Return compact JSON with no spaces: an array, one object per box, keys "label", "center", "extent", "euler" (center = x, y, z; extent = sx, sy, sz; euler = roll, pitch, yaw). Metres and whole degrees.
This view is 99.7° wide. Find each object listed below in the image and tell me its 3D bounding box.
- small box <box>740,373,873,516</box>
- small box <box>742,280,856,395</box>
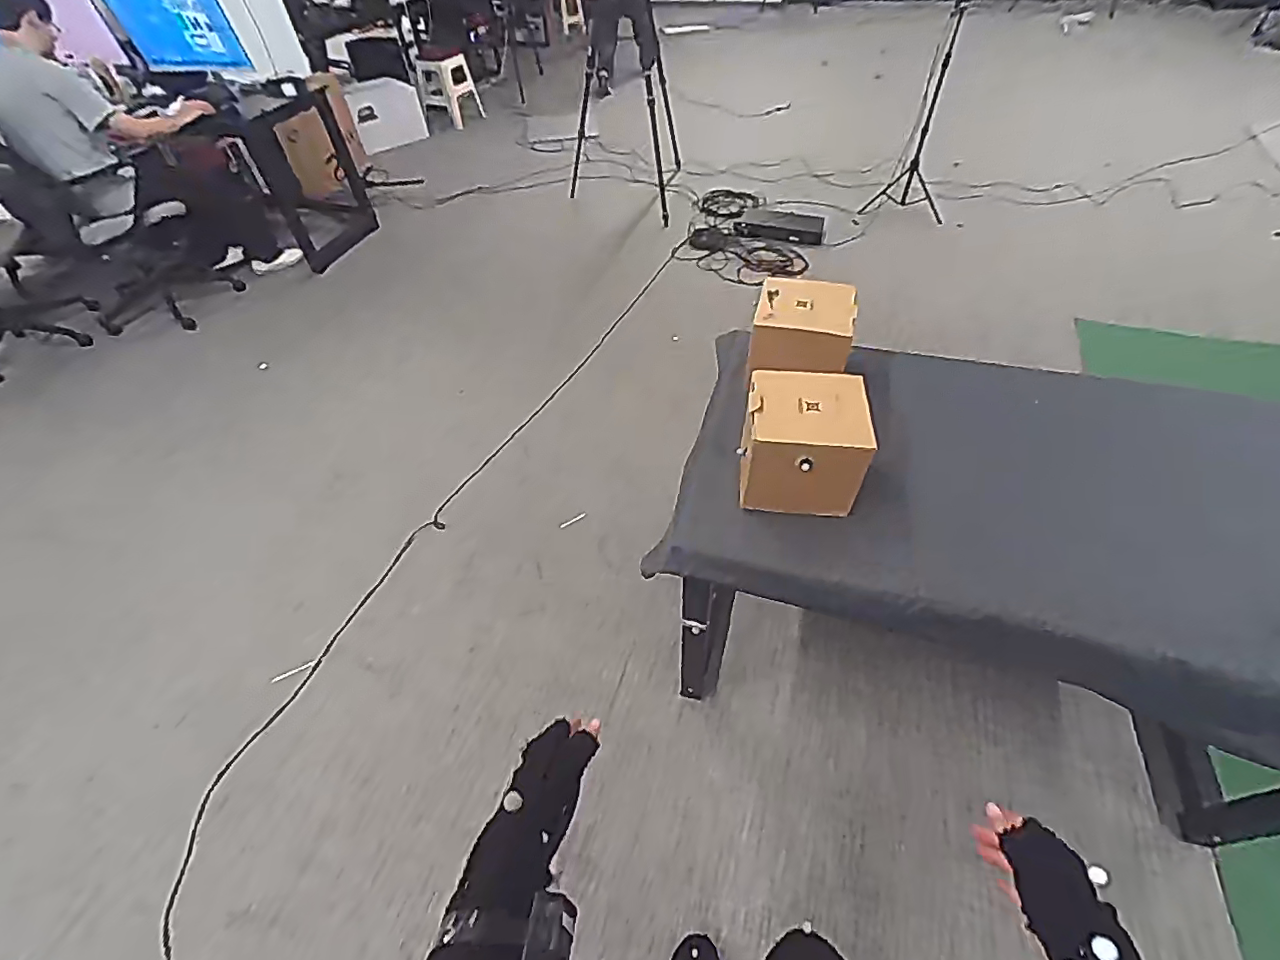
[{"label":"small box","center":[0.261,-0.056,0.891],"extent":[0.179,0.176,0.168],"euler":[5,50,5]},{"label":"small box","center":[0.310,-0.265,1.066],"extent":[0.179,0.176,0.168],"euler":[12,52,12]}]
